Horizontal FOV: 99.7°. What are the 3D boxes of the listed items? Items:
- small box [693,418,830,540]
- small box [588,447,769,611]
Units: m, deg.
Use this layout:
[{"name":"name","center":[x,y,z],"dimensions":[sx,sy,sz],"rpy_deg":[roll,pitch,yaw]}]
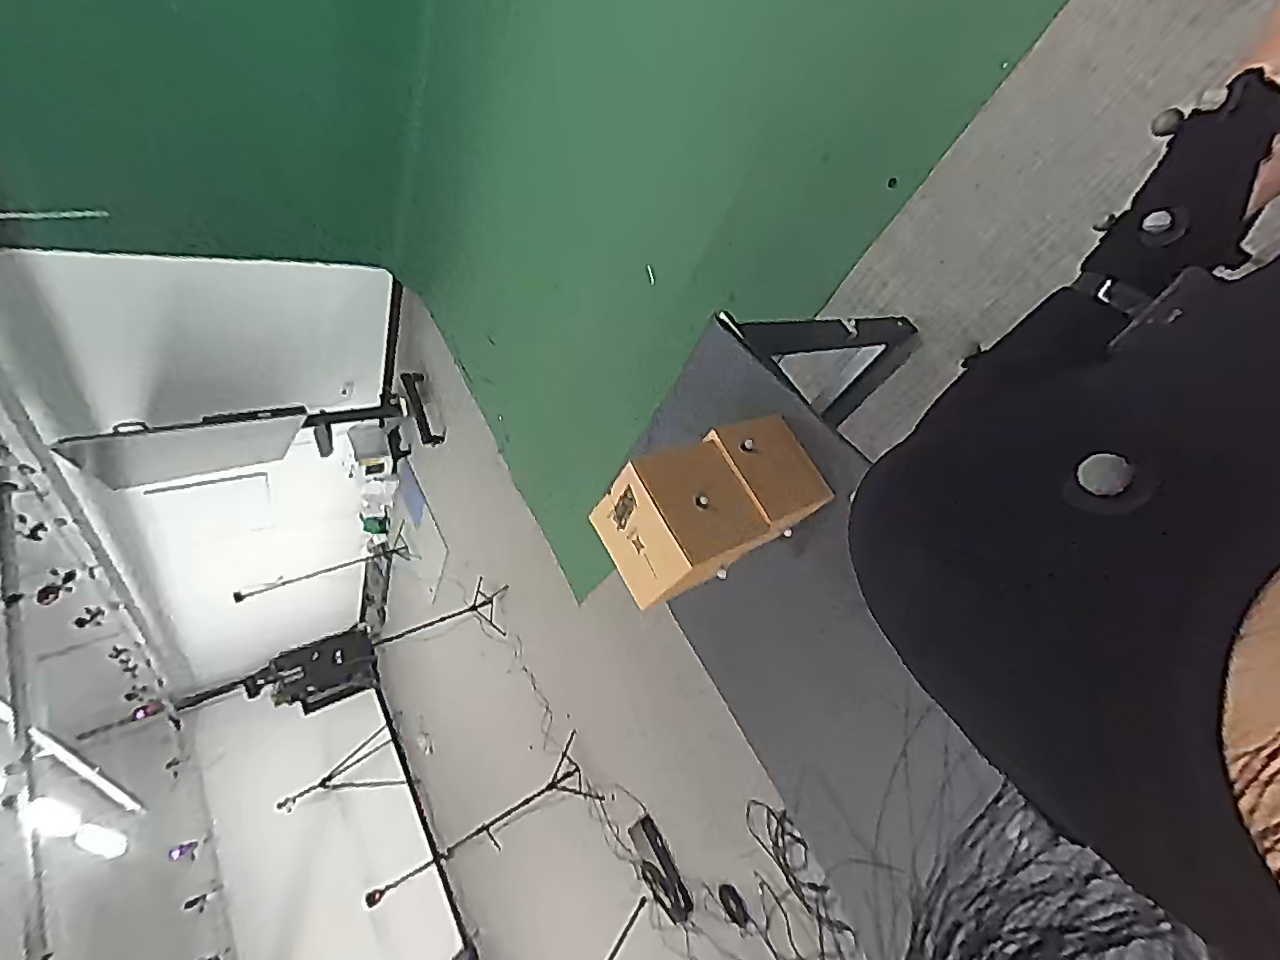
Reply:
[{"name":"small box","center":[0.179,0.010,0.912],"dimensions":[0.179,0.176,0.168],"rpy_deg":[60,141,17]},{"name":"small box","center":[0.055,0.065,0.817],"dimensions":[0.179,0.176,0.168],"rpy_deg":[58,140,17]}]
